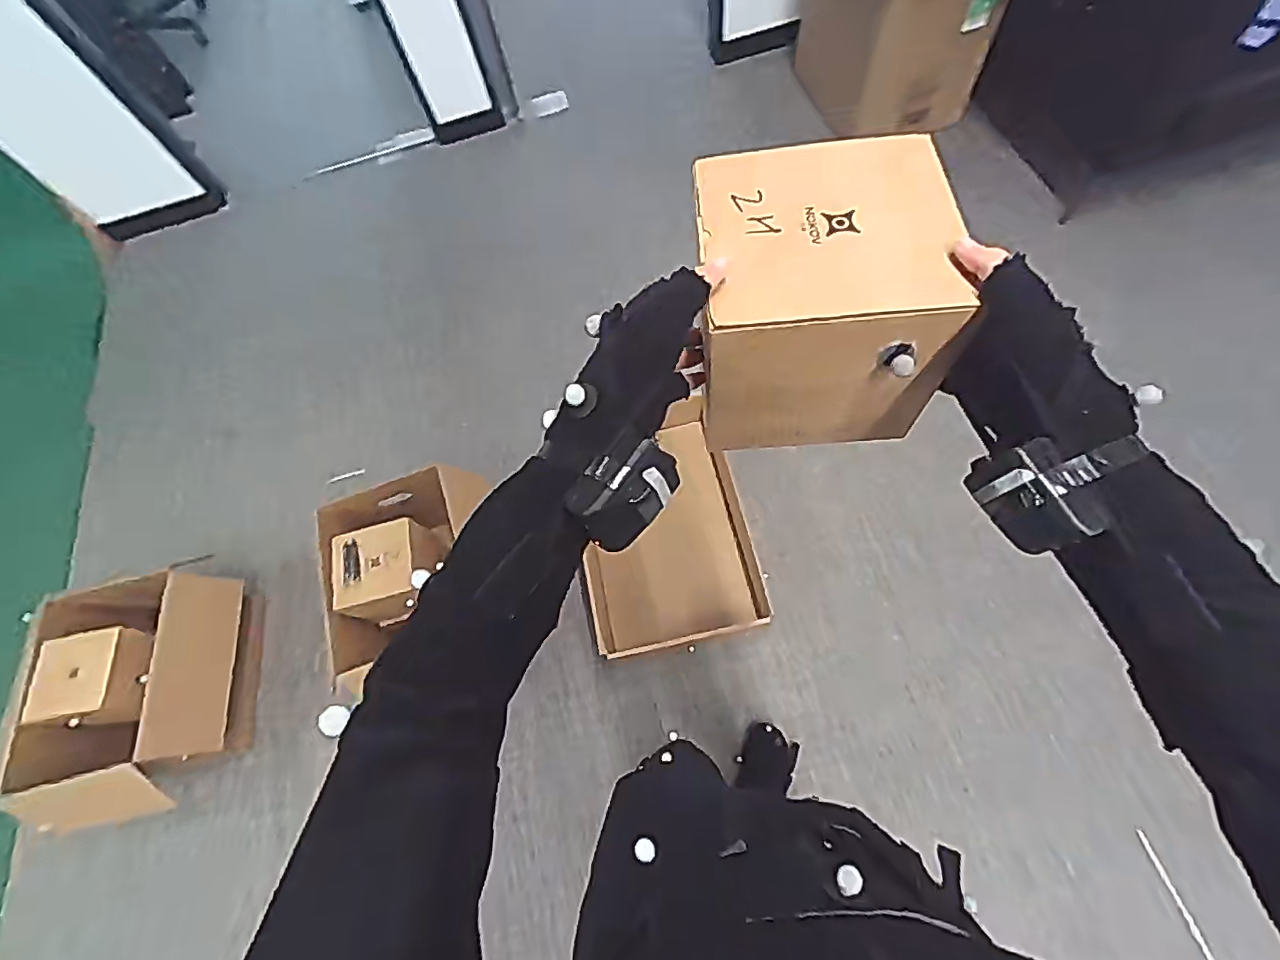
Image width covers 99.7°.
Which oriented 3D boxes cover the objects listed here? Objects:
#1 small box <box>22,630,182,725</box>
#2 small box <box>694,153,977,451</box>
[{"bbox_3d":[-1.180,0.443,1.204,0.179,0.176,0.168,-11,64,0],"label":"small box"},{"bbox_3d":[0.137,-0.137,0.458,0.179,0.176,0.168,-4,64,5],"label":"small box"}]
